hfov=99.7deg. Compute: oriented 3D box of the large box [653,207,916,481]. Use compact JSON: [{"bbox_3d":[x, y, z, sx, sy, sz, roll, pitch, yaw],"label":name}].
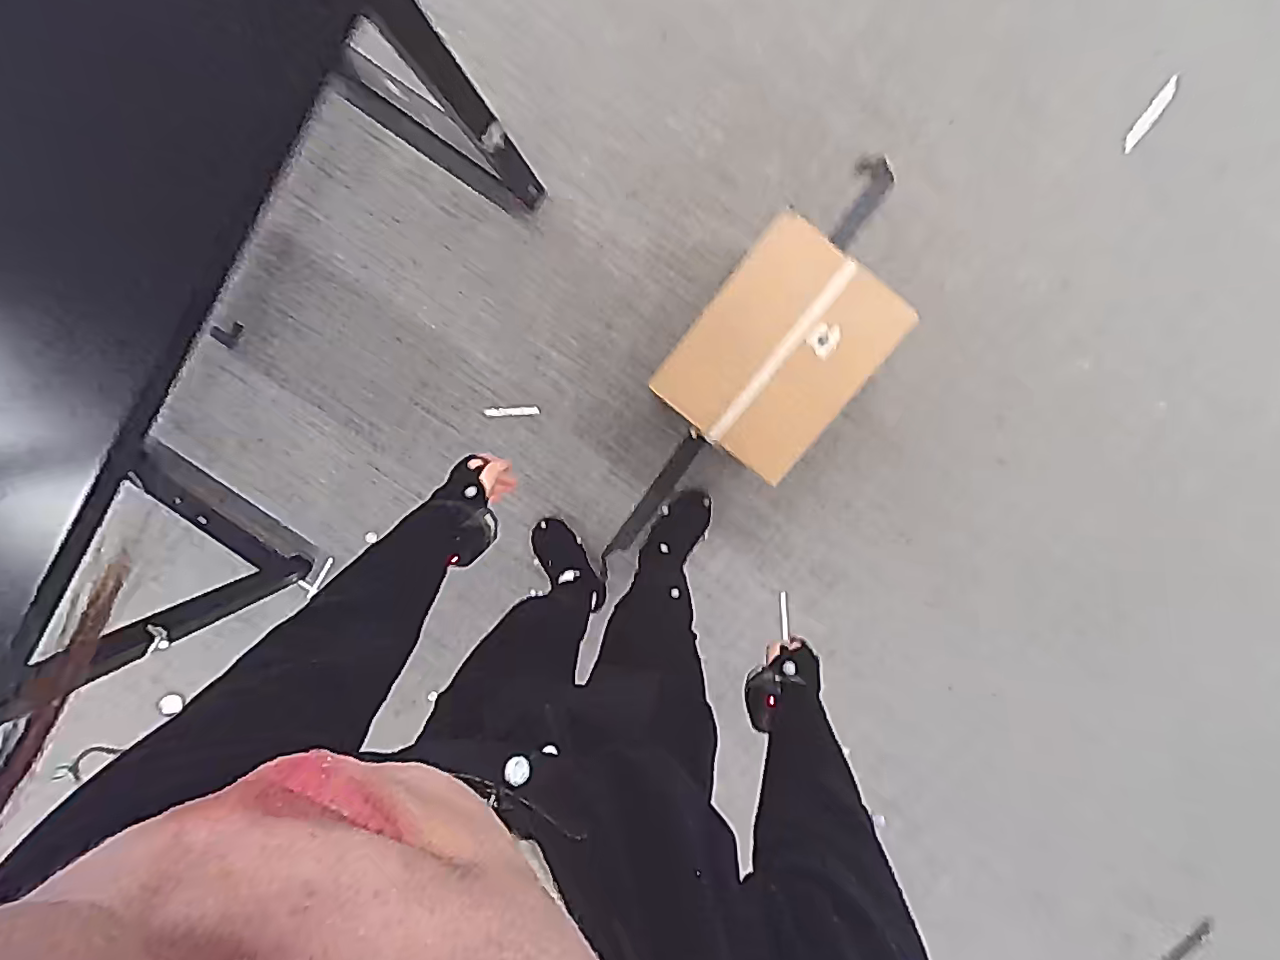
[{"bbox_3d":[0.269,-0.259,1.139,0.320,0.320,0.408,38,98,-3],"label":"large box"}]
